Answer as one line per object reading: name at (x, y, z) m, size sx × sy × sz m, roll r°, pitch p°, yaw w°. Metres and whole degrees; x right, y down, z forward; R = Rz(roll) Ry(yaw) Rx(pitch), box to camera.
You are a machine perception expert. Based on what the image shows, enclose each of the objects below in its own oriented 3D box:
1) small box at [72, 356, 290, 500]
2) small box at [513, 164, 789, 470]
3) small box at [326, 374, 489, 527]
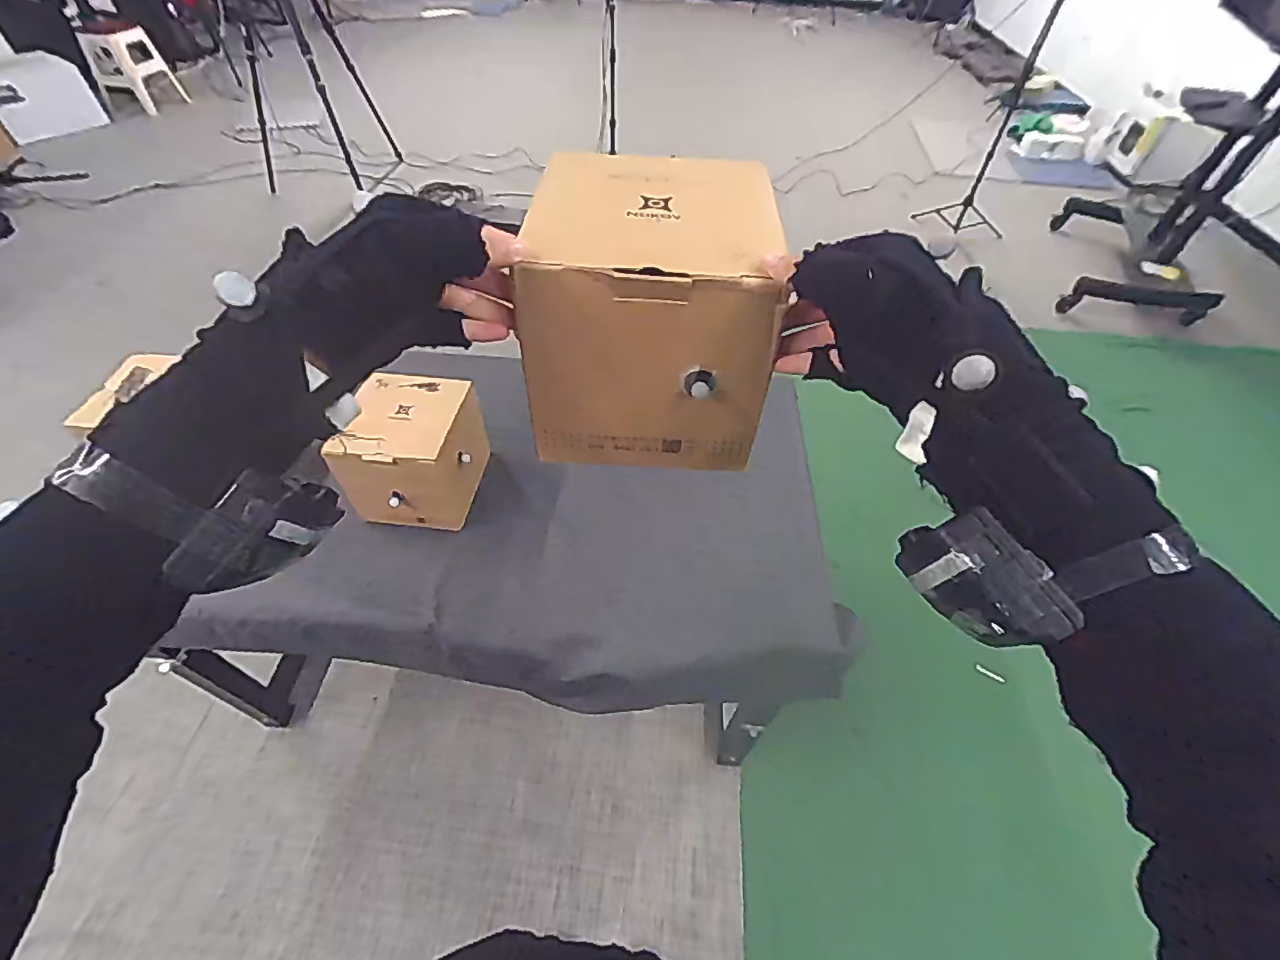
small box at (-0.722, -0.081, 0.878) m, size 0.179 × 0.176 × 0.168 m, roll 3°, pitch 50°, yaw -2°
small box at (0.008, -0.125, 0.427) m, size 0.168 × 0.176 × 0.179 m, roll 4°, pitch 48°, yaw 0°
small box at (-0.353, -0.043, 0.866) m, size 0.168 × 0.176 × 0.179 m, roll 6°, pitch 51°, yaw 2°
